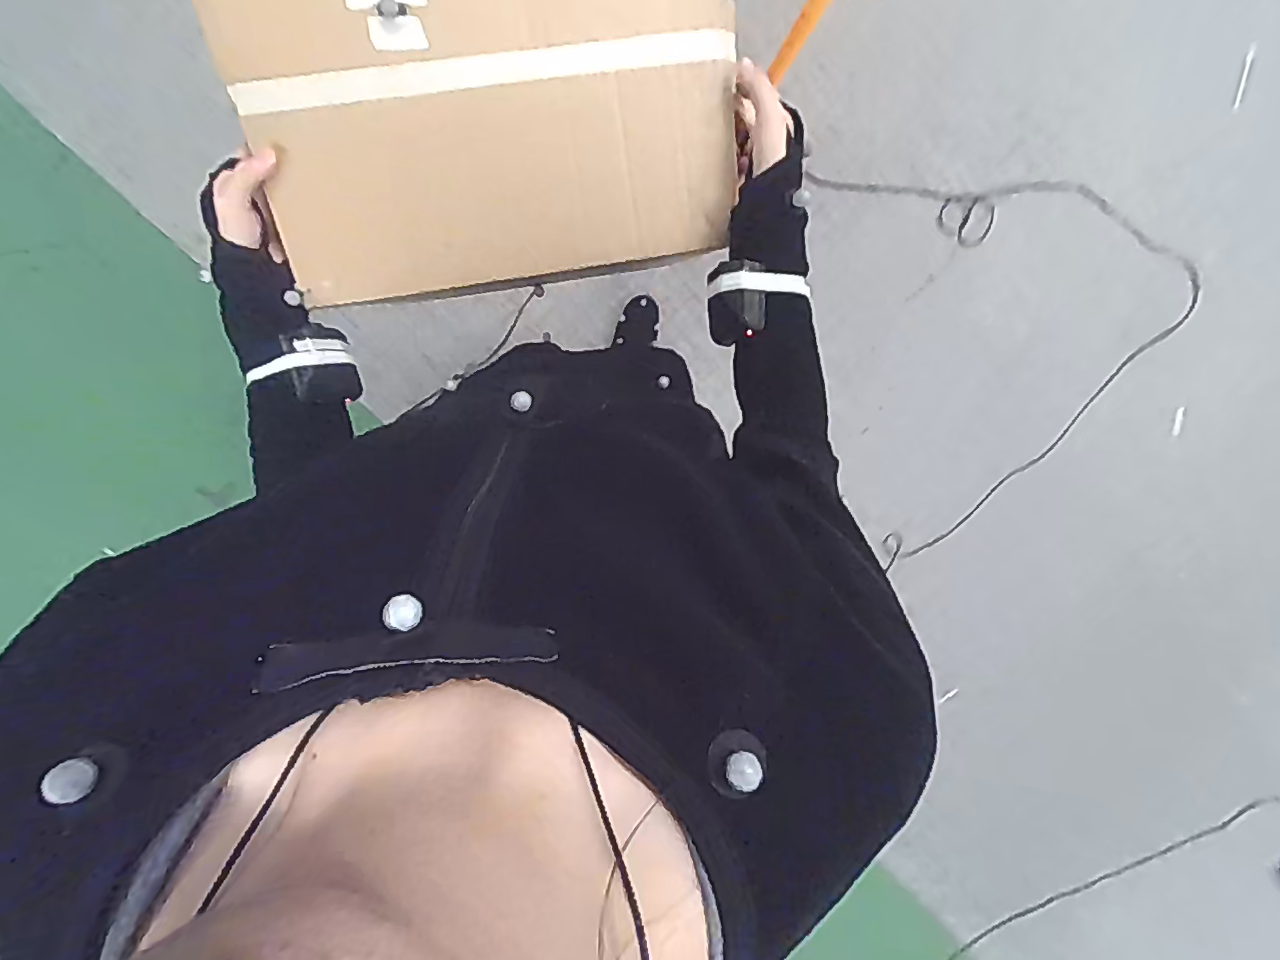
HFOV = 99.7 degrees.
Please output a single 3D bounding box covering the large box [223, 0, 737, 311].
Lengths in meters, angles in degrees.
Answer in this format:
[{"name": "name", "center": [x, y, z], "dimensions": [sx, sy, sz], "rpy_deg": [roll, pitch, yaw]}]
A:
[{"name": "large box", "center": [-0.140, -0.384, 0.603], "dimensions": [0.408, 0.320, 0.320], "rpy_deg": [-11, 110, -6]}]
